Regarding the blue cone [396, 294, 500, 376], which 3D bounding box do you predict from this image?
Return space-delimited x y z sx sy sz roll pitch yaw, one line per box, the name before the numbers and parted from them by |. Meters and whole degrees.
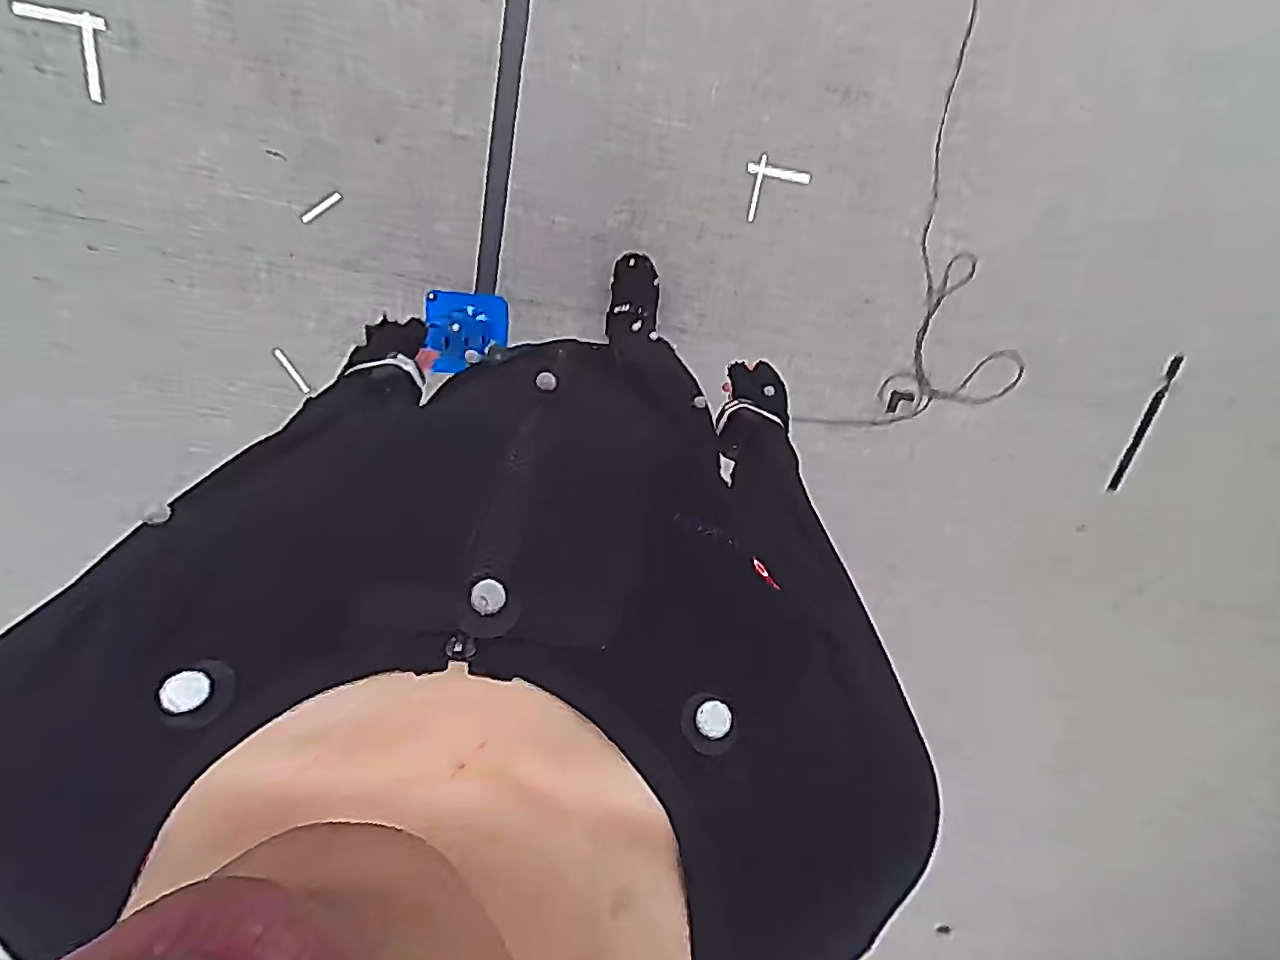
blue cone | -0.438 -0.310 1.190 0.192 0.380 0.193 6 106 -5
